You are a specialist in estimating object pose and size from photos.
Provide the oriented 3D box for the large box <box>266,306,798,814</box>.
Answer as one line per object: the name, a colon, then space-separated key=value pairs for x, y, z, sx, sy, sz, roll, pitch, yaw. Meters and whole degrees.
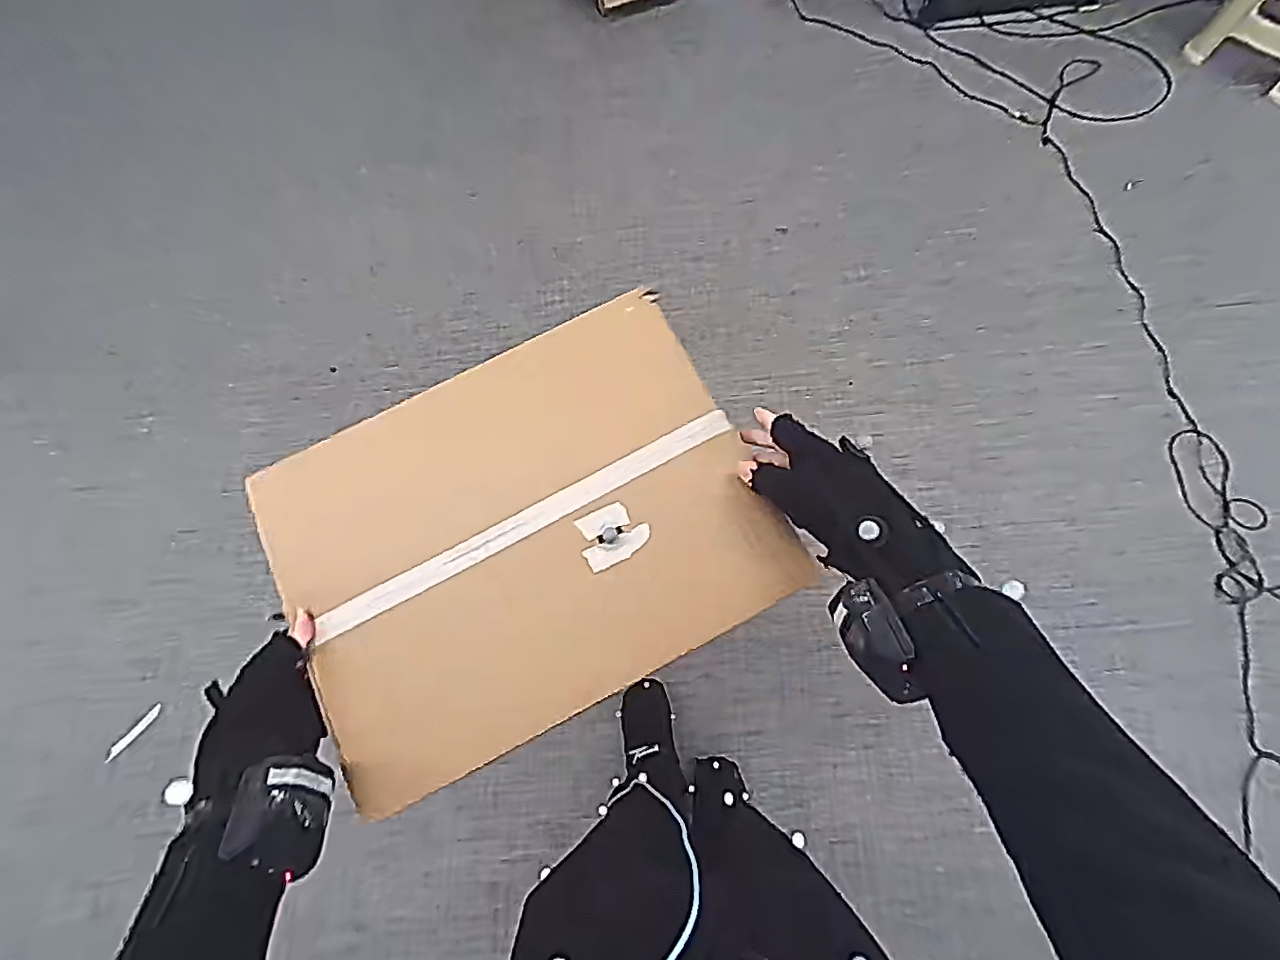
large box: x=-0.101 y=0.086 z=0.628 sx=0.408 sy=0.320 sz=0.320 roll=-29 pitch=76 yaw=-6
